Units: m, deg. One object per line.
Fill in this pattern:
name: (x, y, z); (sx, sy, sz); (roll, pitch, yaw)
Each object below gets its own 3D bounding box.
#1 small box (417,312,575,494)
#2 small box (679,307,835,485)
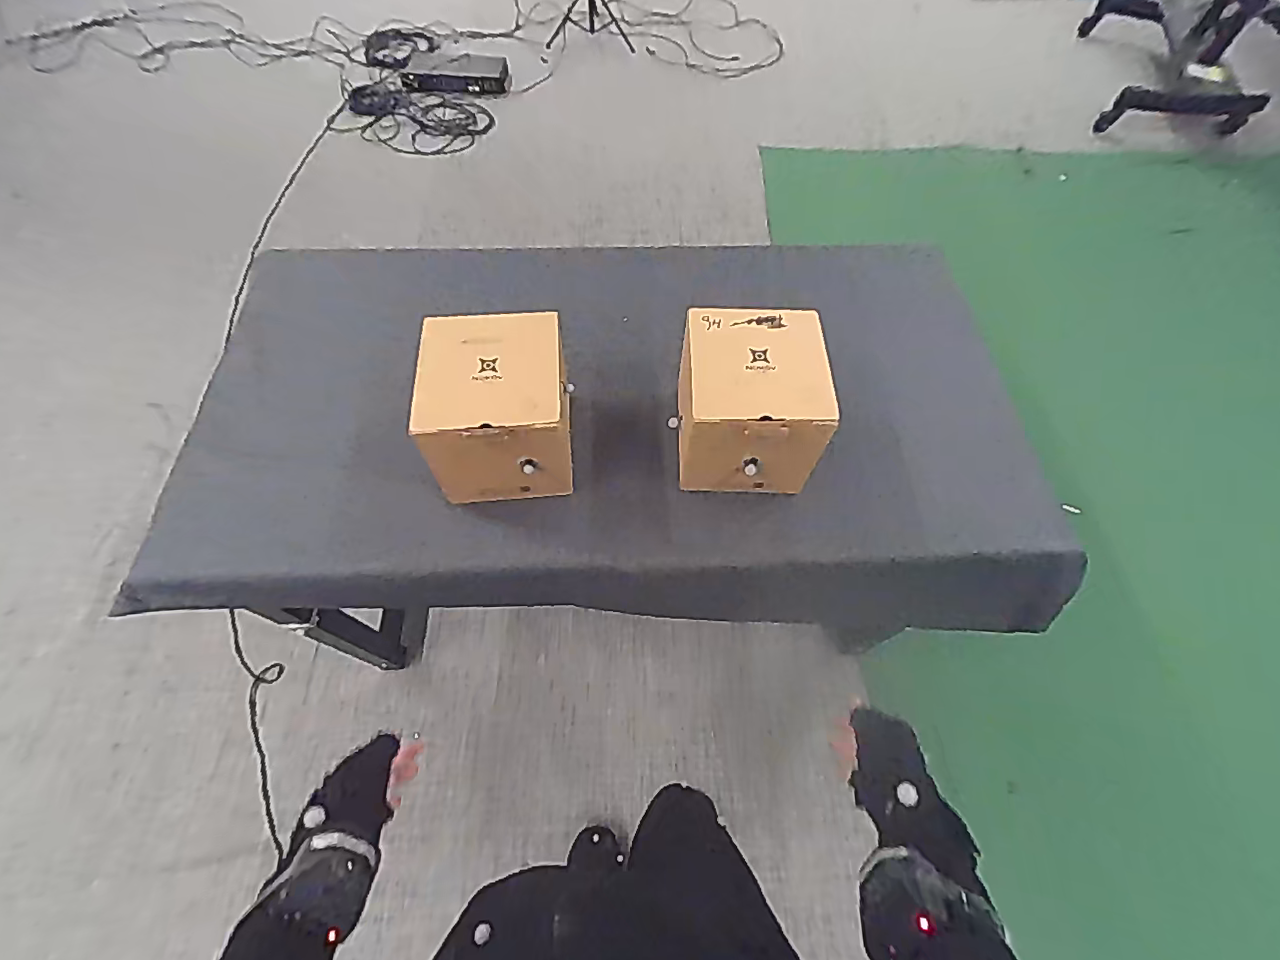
small box: (-0.175, -0.092, 0.707); (0.168, 0.176, 0.179); (-4, 60, -5)
small box: (0.141, -0.104, 0.718); (0.168, 0.176, 0.179); (1, 62, -1)
